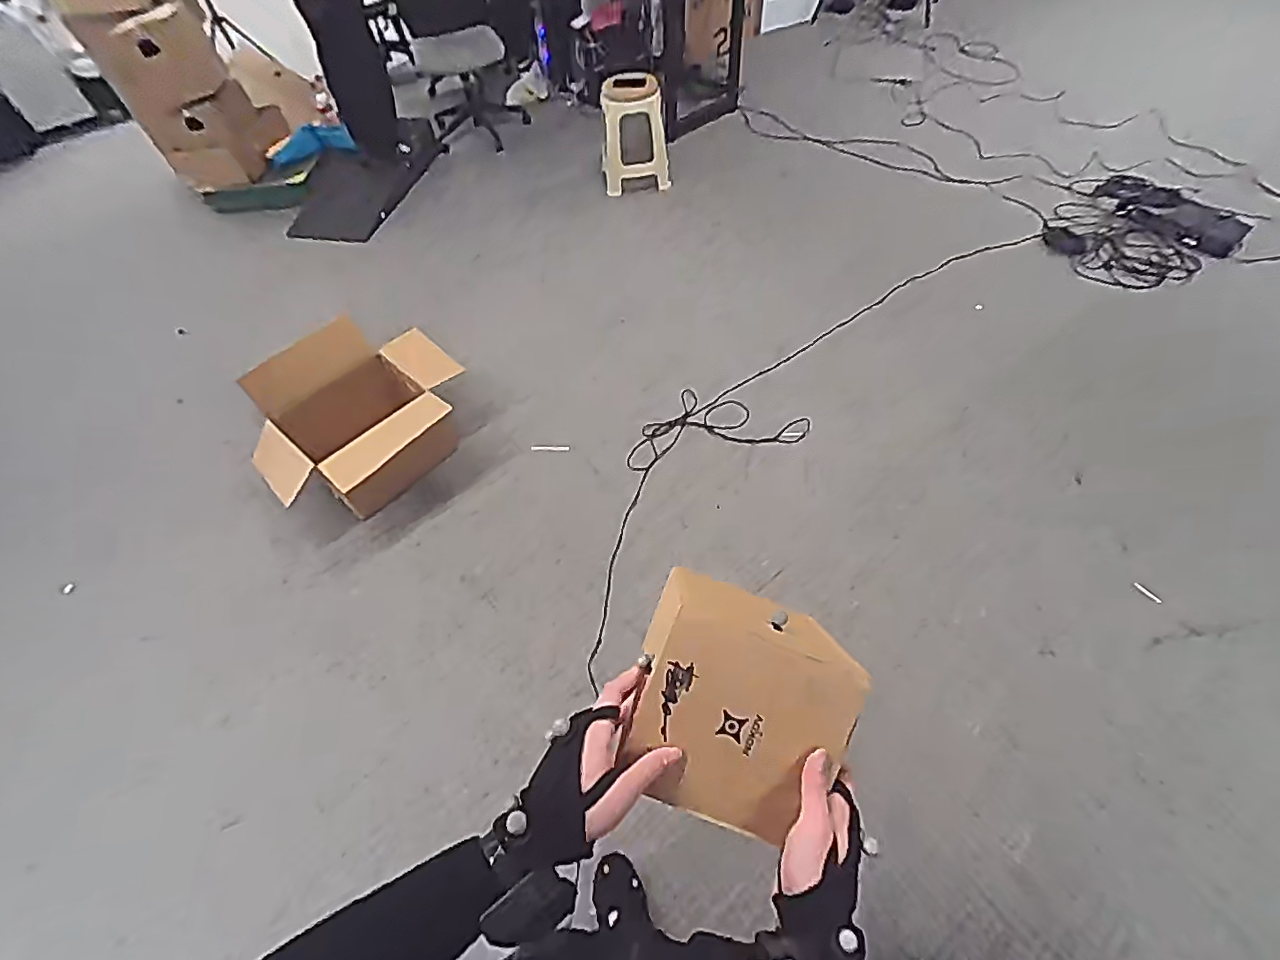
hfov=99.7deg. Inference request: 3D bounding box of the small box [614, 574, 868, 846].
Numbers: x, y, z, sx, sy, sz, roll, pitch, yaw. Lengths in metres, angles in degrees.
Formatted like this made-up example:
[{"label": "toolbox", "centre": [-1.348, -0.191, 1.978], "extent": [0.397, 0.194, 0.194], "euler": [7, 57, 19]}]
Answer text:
[{"label": "small box", "centre": [0.088, 0.208, 0.543], "extent": [0.179, 0.176, 0.168], "euler": [21, 93, 1]}]
